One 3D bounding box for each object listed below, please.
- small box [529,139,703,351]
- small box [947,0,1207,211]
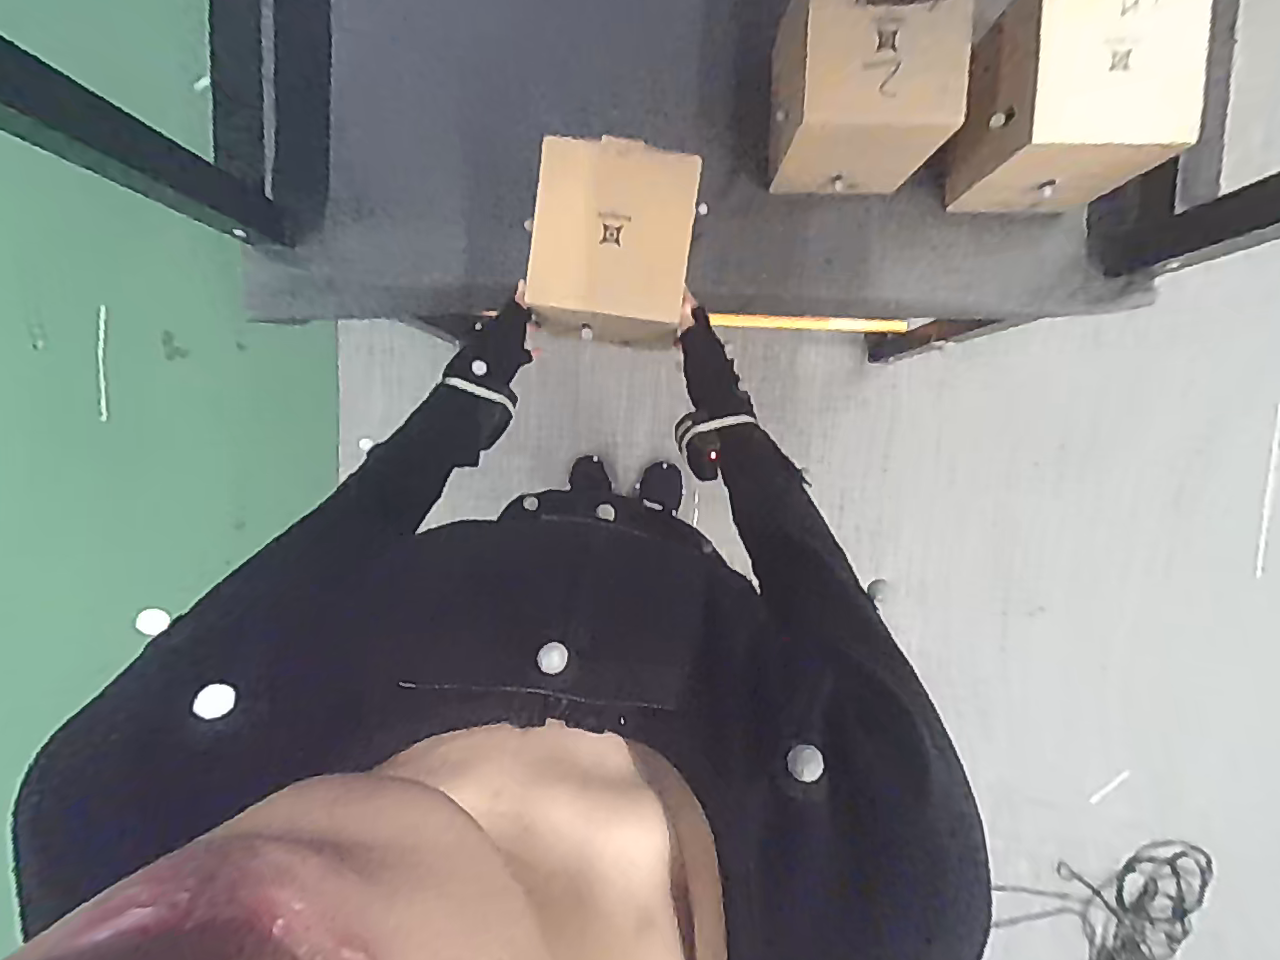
[{"bbox_3d":[-0.026,-0.261,0.645,0.168,0.176,0.179,7,92,-1],"label":"small box"},{"bbox_3d":[0.482,-0.431,0.624,0.168,0.176,0.179,1,94,1],"label":"small box"}]
